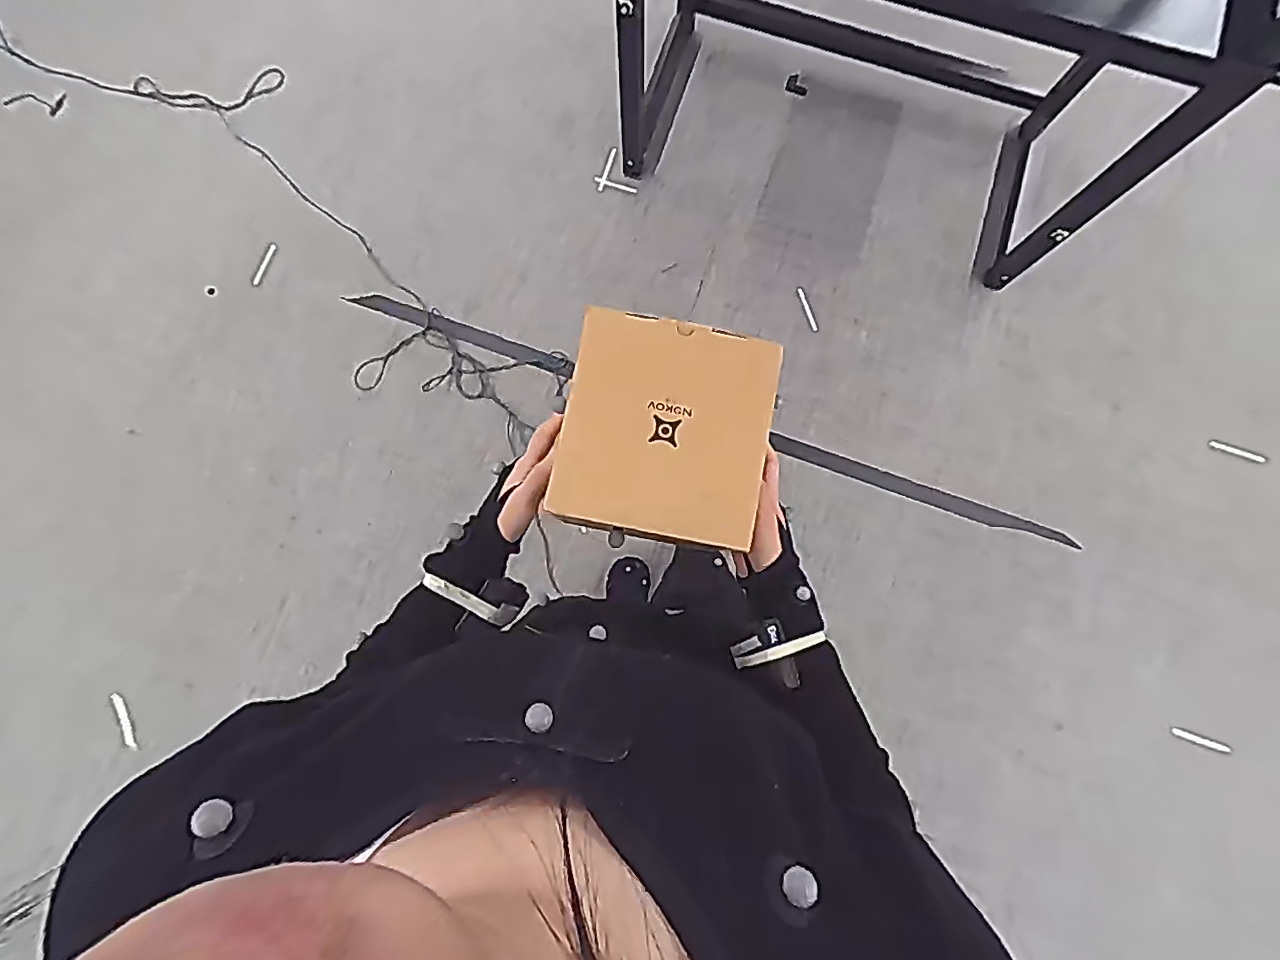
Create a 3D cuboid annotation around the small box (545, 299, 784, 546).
[{"bbox_3d":[0.020,-0.037,0.507,0.168,0.176,0.179,11,81,-1],"label":"small box"}]
